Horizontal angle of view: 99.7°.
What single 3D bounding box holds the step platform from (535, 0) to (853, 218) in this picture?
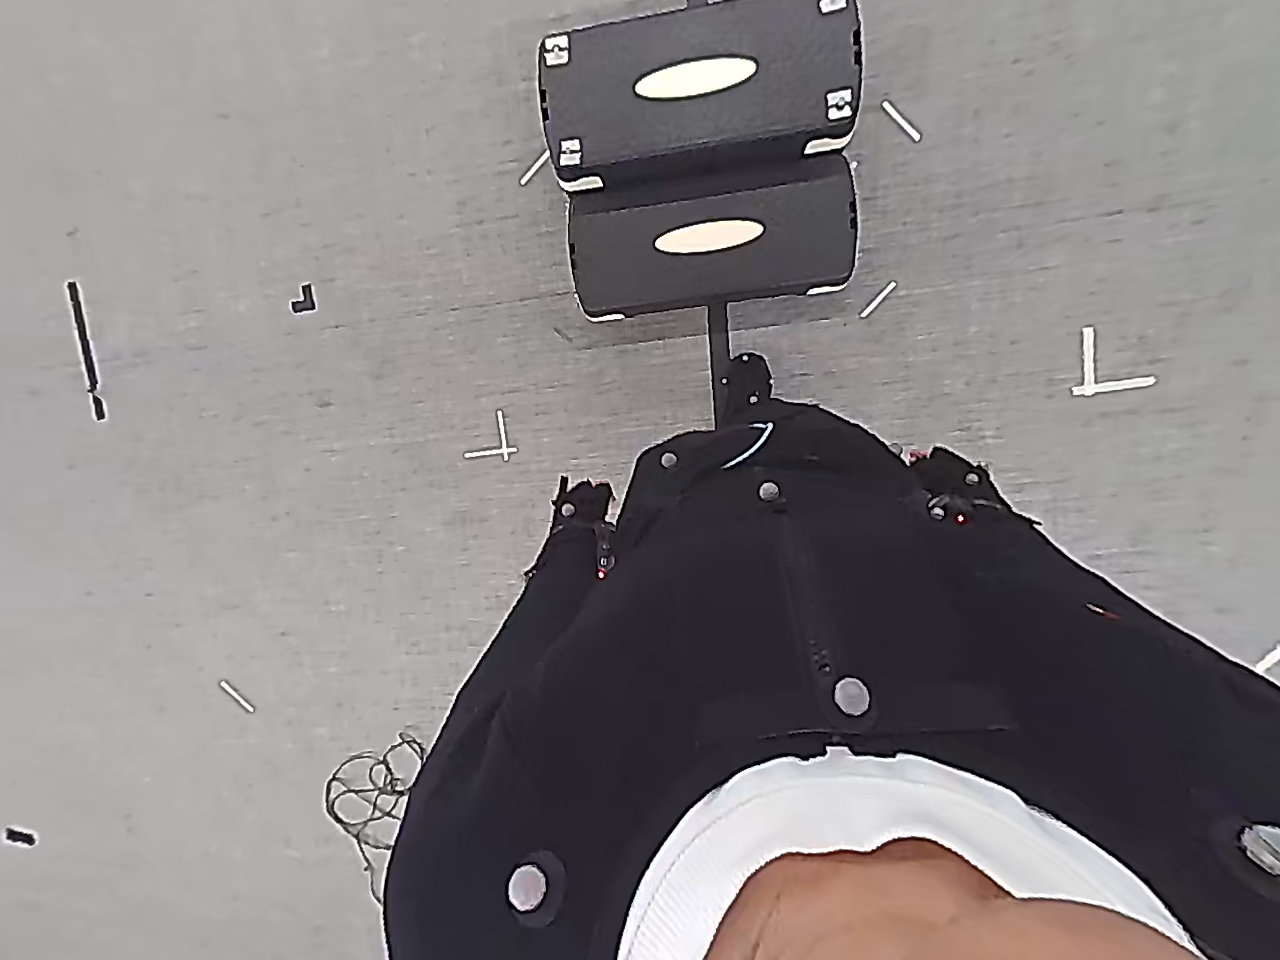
[{"bbox_3d":[0.111,-0.812,1.213,0.684,0.204,0.286,-6,99,7],"label":"step platform"}]
